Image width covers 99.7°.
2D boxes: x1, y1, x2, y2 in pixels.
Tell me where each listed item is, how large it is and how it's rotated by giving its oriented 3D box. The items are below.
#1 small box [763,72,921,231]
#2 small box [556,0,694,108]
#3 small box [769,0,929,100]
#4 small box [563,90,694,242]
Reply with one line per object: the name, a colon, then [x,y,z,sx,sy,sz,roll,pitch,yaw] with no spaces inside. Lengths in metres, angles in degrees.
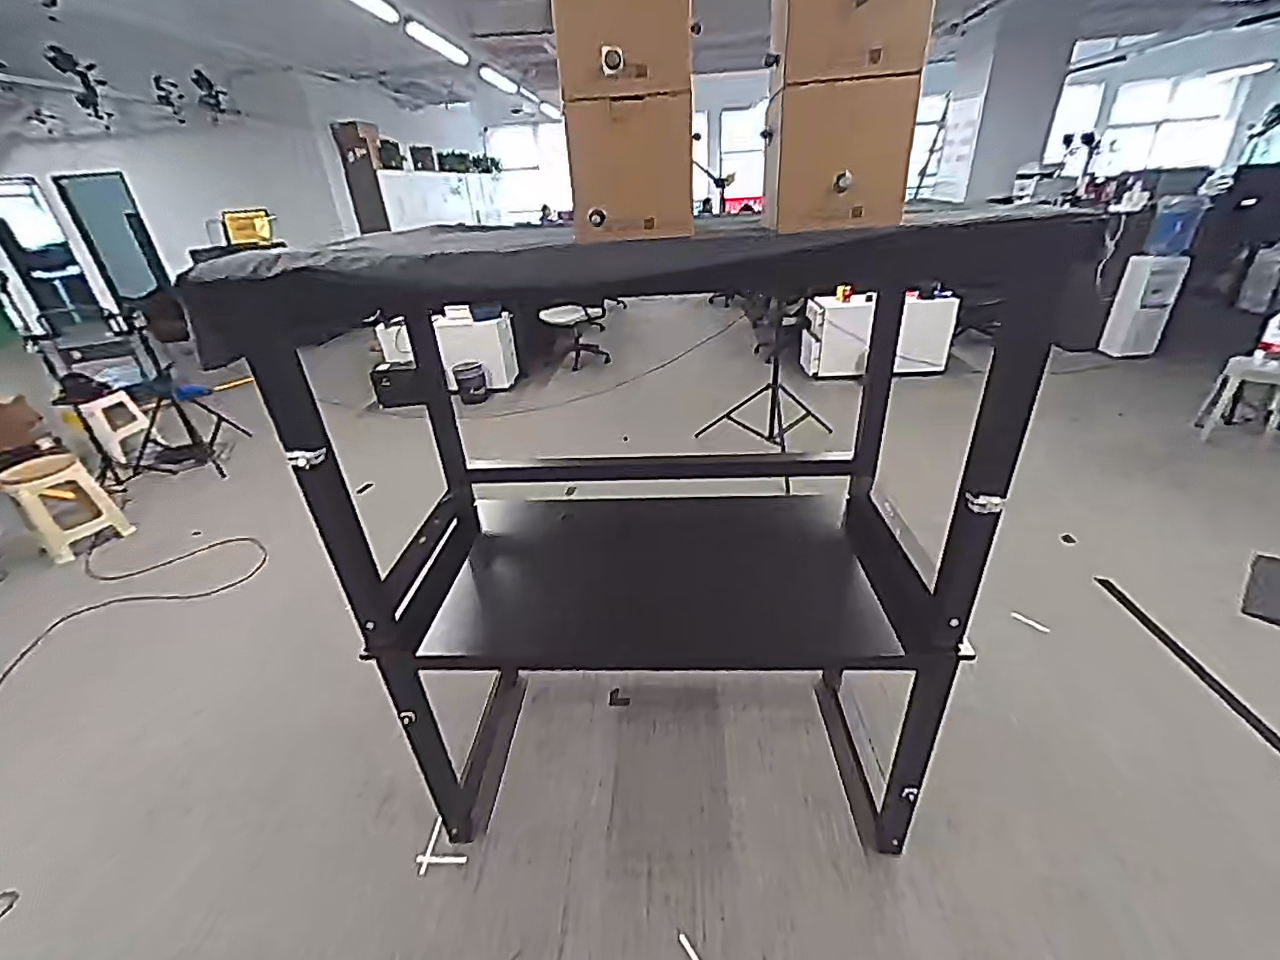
small box: [0.268,-0.450,0.763,0.168,0.176,0.179,-2,28,6]
small box: [-0.014,-0.587,0.712,0.168,0.176,0.179,-2,28,6]
small box: [0.258,-0.595,0.687,0.168,0.176,0.179,-1,28,6]
small box: [-0.007,-0.442,0.784,0.168,0.176,0.179,-1,26,4]
